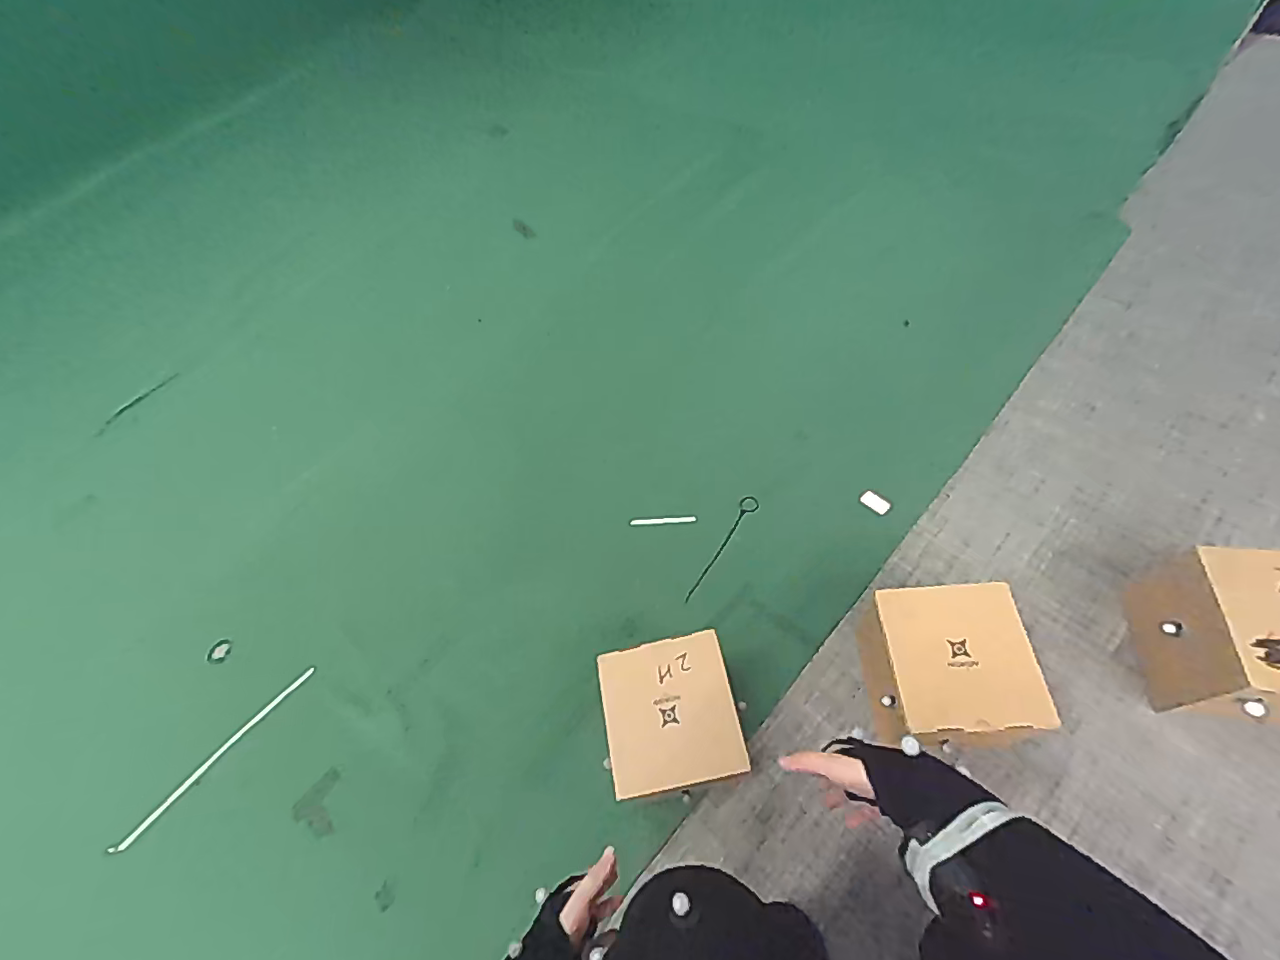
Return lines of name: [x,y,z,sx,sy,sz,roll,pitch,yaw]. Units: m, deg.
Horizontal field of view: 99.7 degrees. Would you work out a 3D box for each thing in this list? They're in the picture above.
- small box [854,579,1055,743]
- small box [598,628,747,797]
small box: [0.403,0.250,0.734,0.168,0.176,0.179,-6,58,8]
small box: [0.049,0.328,0.752,0.168,0.176,0.179,-13,57,2]
